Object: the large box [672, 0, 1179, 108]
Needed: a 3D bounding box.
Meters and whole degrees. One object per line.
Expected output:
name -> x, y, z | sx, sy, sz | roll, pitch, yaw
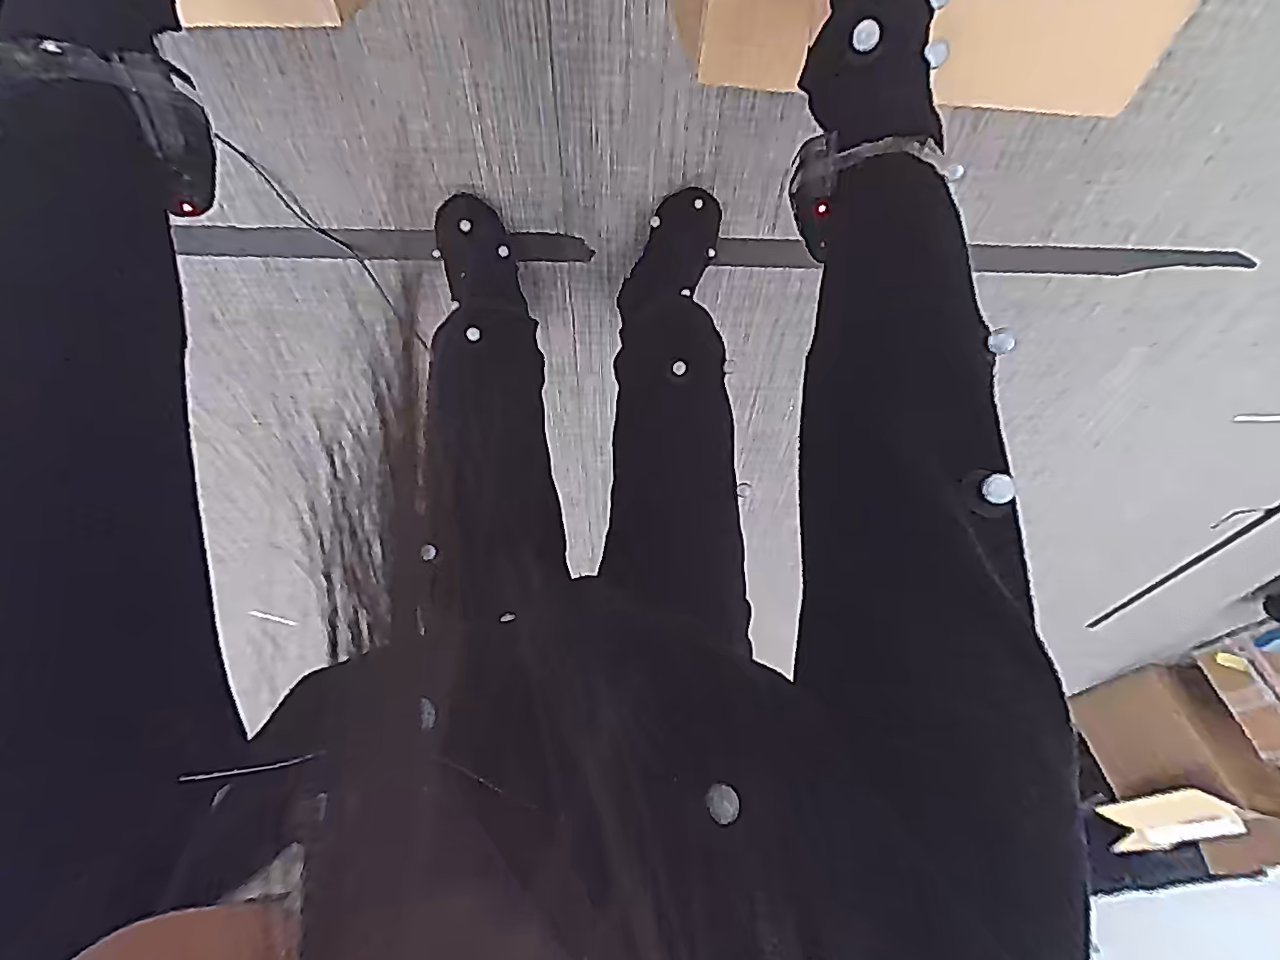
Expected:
large box -> 0.254, -0.568, 0.479 | 0.408, 0.320, 0.320 | 0, 141, -6
